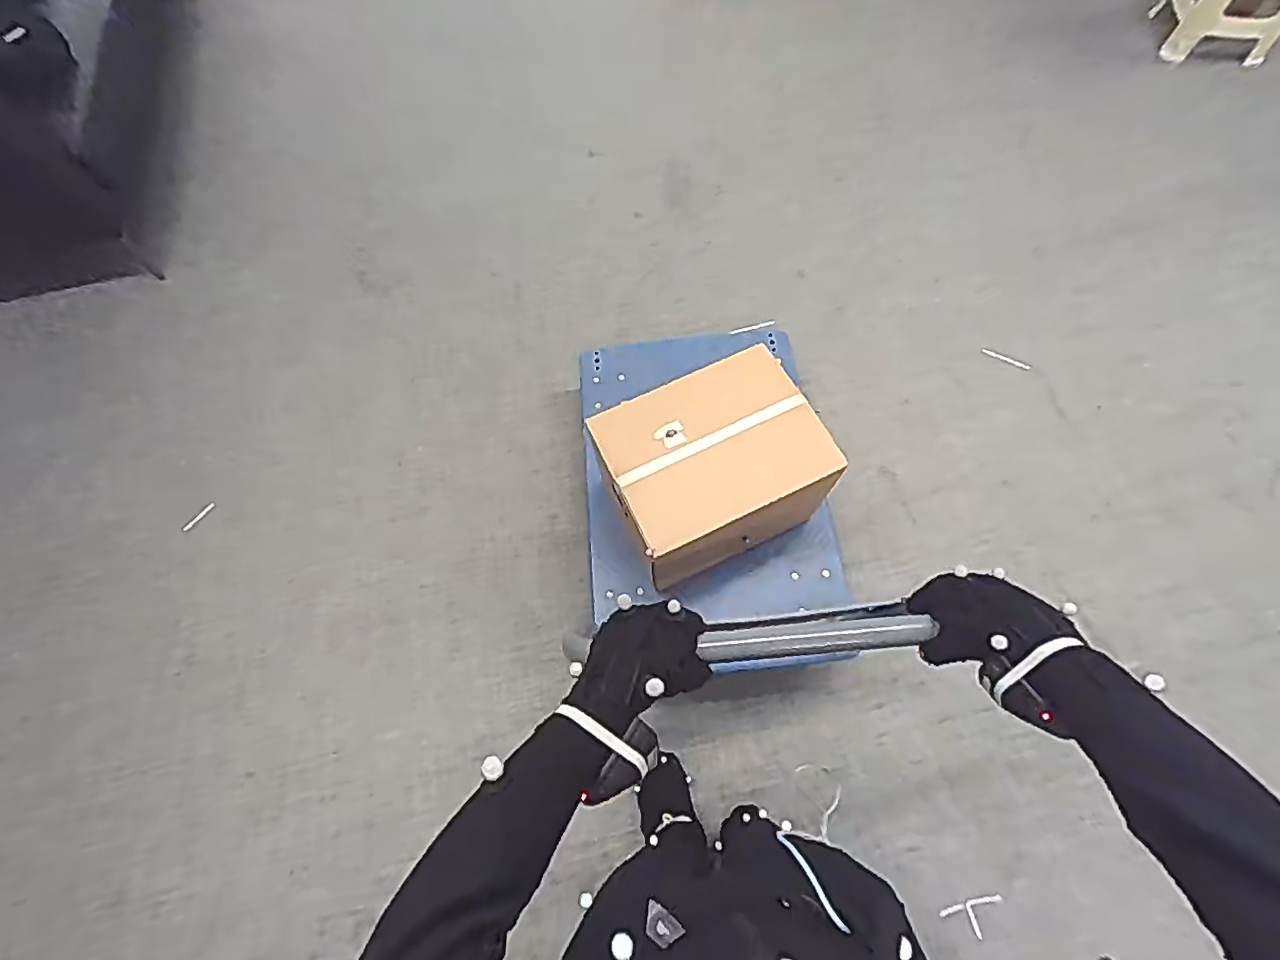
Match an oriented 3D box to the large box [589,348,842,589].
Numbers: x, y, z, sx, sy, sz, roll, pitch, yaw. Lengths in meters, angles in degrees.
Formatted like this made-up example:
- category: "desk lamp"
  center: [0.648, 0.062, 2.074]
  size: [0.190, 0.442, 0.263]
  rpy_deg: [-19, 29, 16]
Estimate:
- category: "large box"
  center: [0.149, -0.010, 1.179]
  size: [0.408, 0.320, 0.320]
  rpy_deg: [-25, 68, -7]
